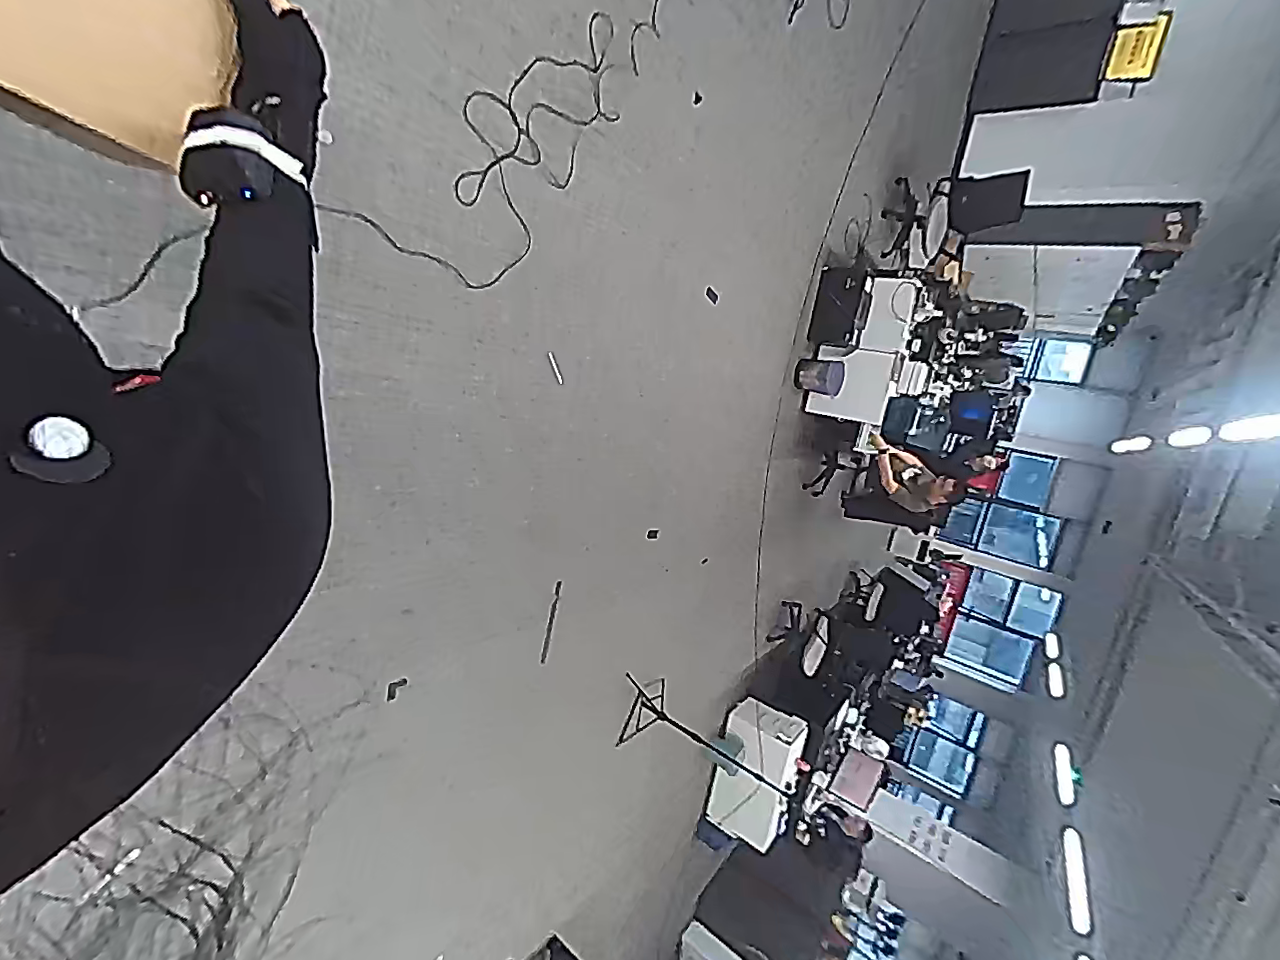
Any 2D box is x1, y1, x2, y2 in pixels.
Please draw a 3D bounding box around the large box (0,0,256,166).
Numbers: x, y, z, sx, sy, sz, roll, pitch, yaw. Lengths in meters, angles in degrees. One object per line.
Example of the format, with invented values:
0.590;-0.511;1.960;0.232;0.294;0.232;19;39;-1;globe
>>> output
-0.549;-0.491;0.376;0.408;0.320;0.320;12;103;-57;large box
